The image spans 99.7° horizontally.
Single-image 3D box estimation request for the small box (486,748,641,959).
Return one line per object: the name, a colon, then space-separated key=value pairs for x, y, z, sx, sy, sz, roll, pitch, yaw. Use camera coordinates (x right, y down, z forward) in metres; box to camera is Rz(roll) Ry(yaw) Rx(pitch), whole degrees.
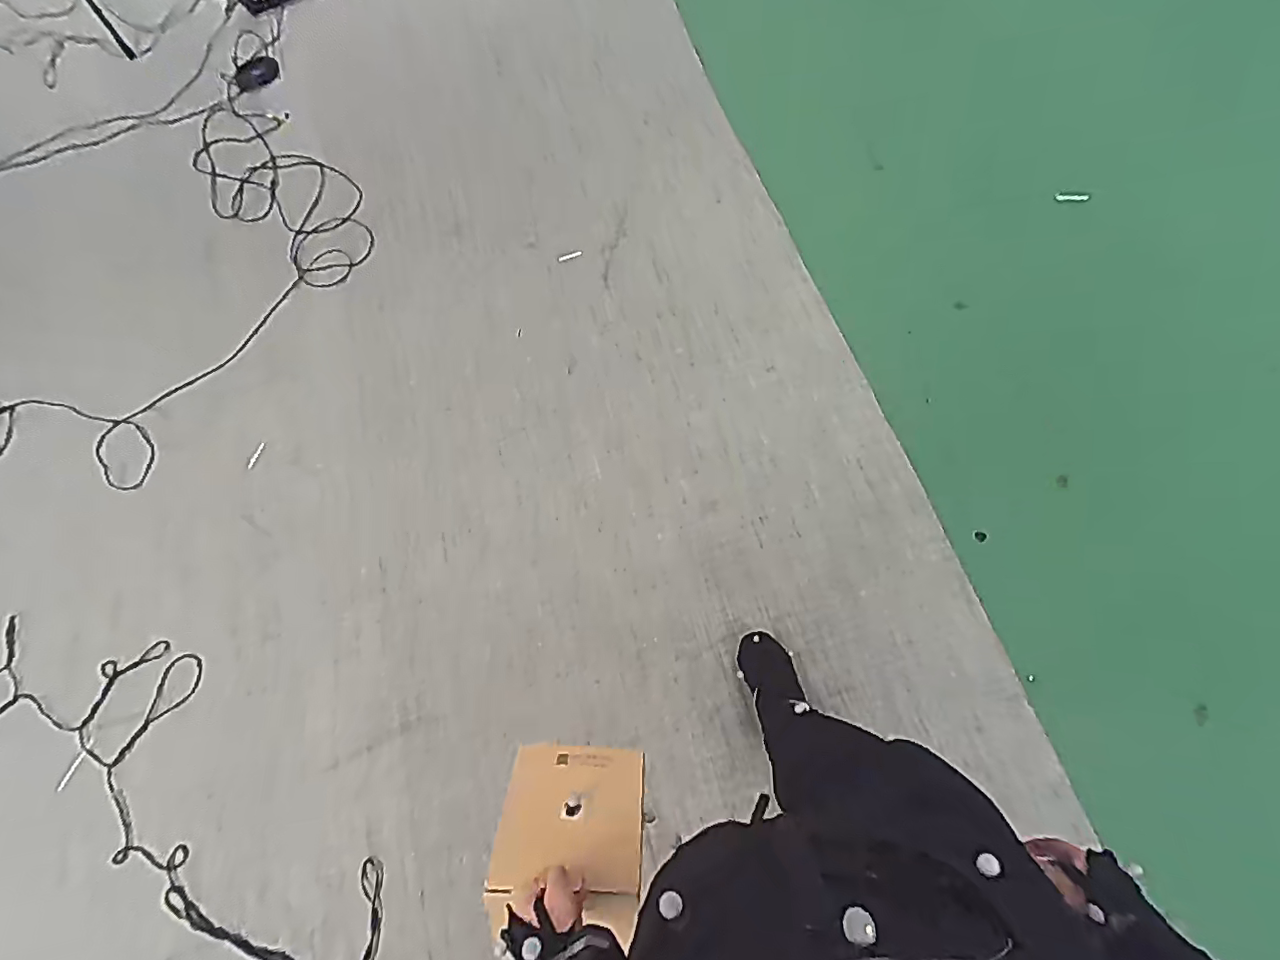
small box: x=-0.082 y=0.460 z=0.674 sx=0.168 sy=0.179 sz=0.176 roll=0 pitch=29 yaw=0
